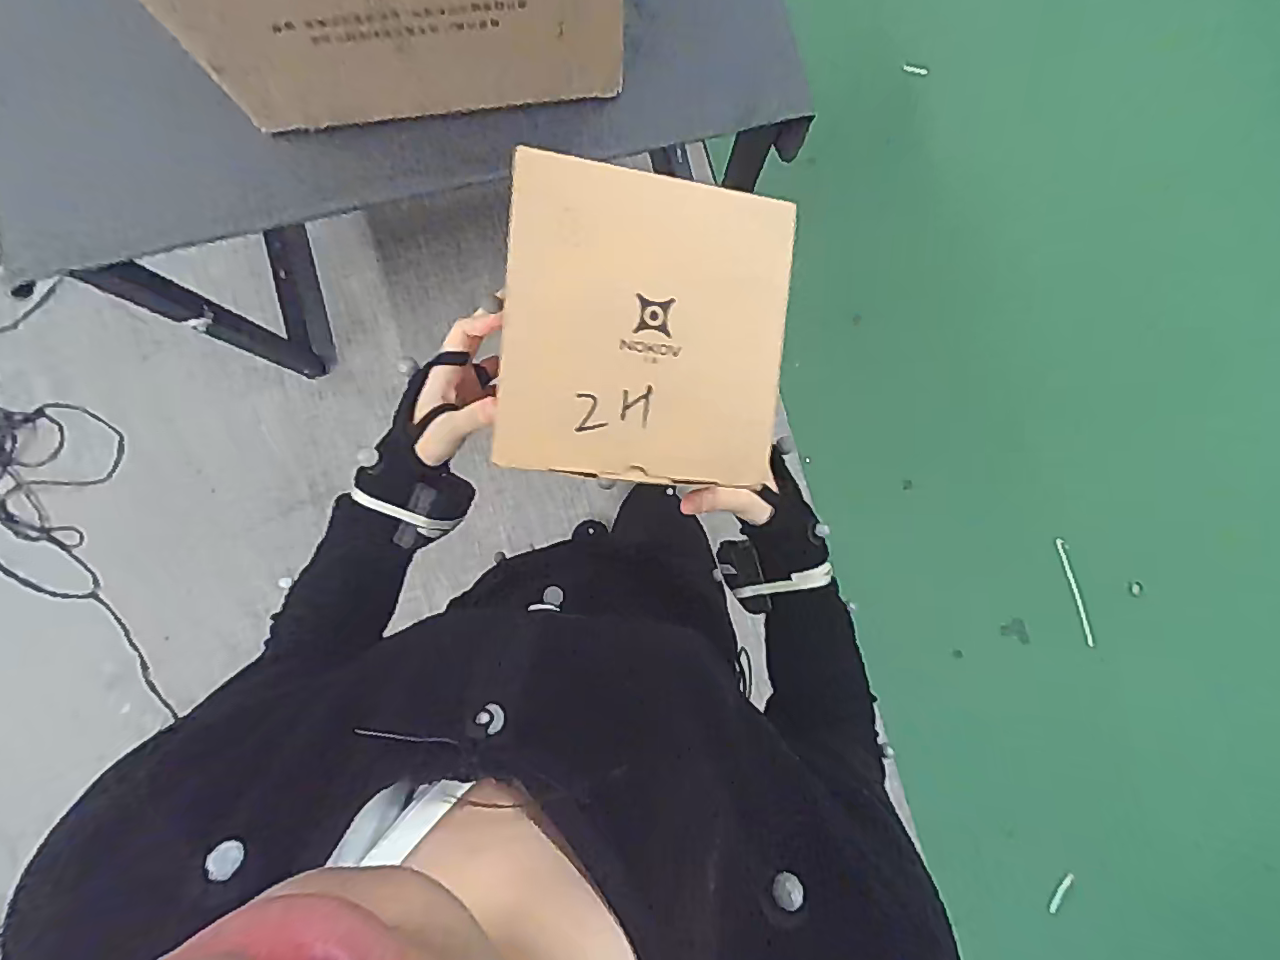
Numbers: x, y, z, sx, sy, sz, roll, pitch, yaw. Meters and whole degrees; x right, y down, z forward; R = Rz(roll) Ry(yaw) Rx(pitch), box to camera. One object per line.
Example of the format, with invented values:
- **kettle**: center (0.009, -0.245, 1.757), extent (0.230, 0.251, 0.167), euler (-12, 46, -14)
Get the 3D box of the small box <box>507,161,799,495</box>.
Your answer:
- **small box**: center (-0.007, -0.091, 0.398), extent (0.168, 0.176, 0.179), euler (5, 95, -13)
